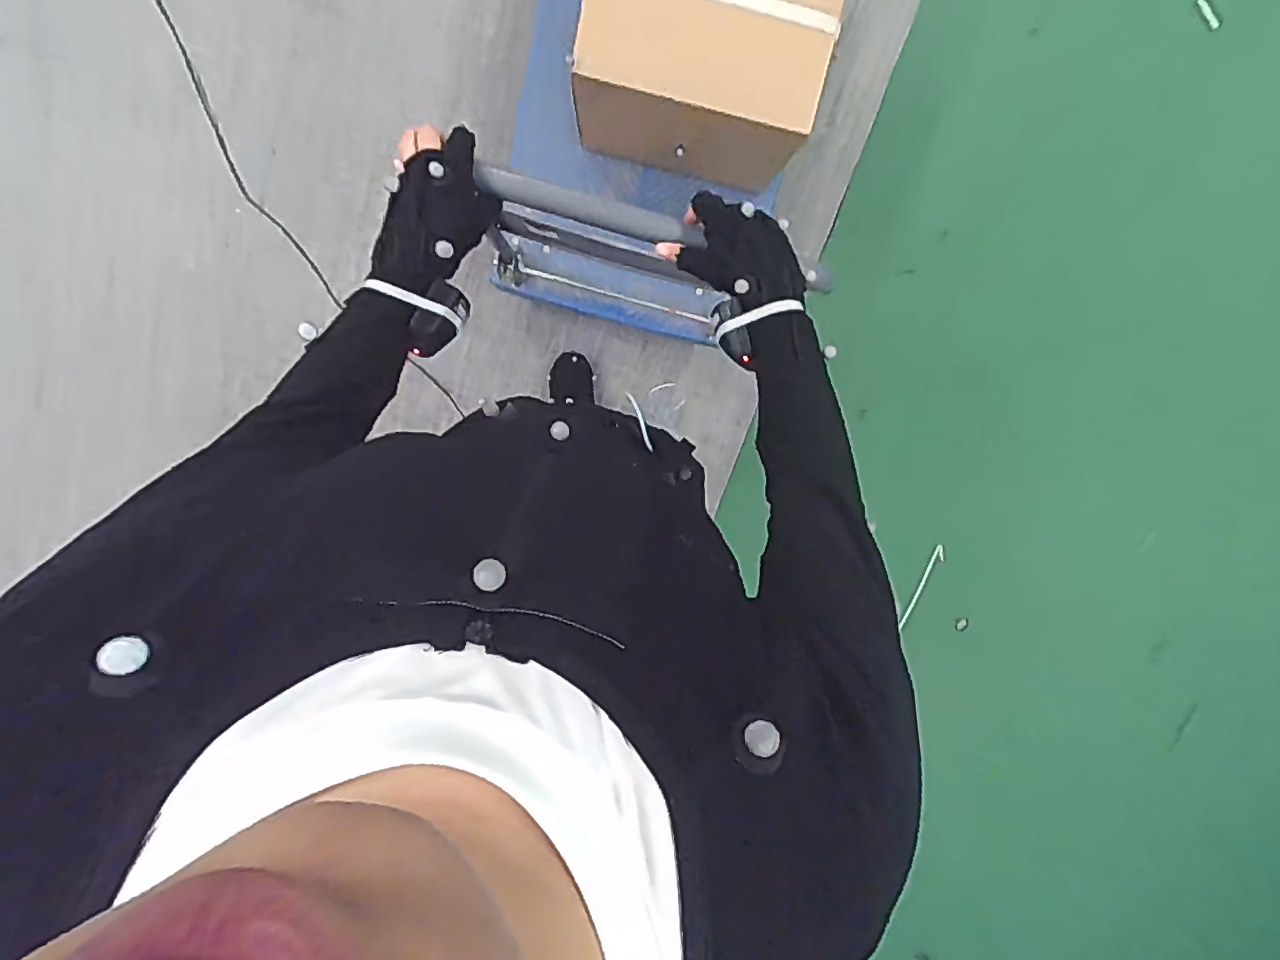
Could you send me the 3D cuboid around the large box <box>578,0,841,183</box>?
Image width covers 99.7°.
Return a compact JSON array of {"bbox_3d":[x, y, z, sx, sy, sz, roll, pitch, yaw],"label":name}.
[{"bbox_3d":[0.120,-0.797,1.006,0.408,0.320,0.320,11,101,-4],"label":"large box"}]
